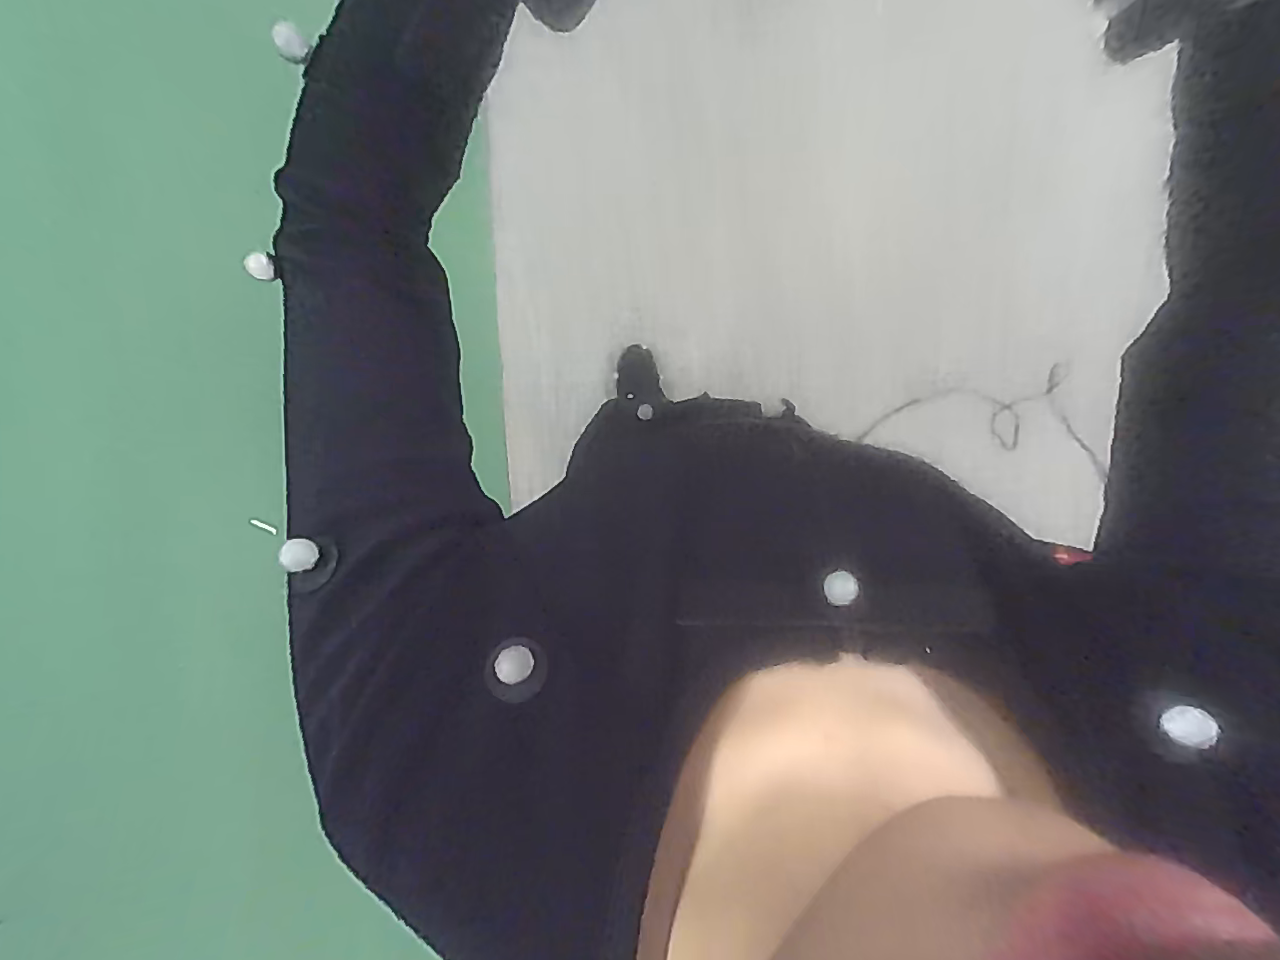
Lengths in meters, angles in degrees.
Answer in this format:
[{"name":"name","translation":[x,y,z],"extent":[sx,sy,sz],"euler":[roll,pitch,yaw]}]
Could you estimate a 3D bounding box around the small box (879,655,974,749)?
[{"name":"small box","translation":[0.742,0.576,1.416],"extent":[0.168,0.176,0.179],"euler":[-2,94,1]}]
